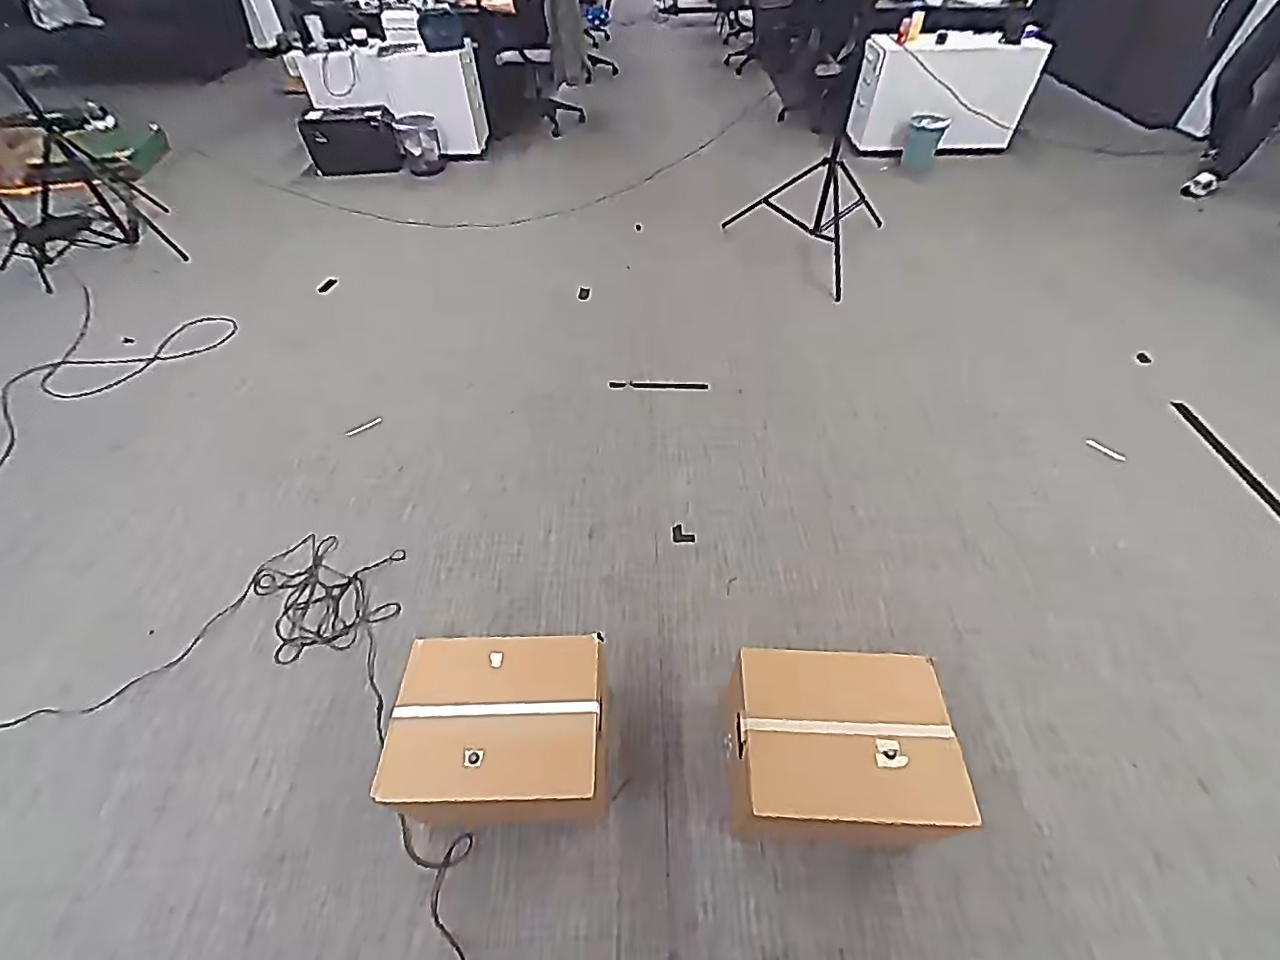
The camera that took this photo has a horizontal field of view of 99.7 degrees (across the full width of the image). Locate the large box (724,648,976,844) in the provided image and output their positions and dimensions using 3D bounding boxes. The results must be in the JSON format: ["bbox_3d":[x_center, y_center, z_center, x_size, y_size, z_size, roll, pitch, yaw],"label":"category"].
[{"bbox_3d":[0.408,0.583,1.178,0.408,0.320,0.320,2,50,2],"label":"large box"}]
